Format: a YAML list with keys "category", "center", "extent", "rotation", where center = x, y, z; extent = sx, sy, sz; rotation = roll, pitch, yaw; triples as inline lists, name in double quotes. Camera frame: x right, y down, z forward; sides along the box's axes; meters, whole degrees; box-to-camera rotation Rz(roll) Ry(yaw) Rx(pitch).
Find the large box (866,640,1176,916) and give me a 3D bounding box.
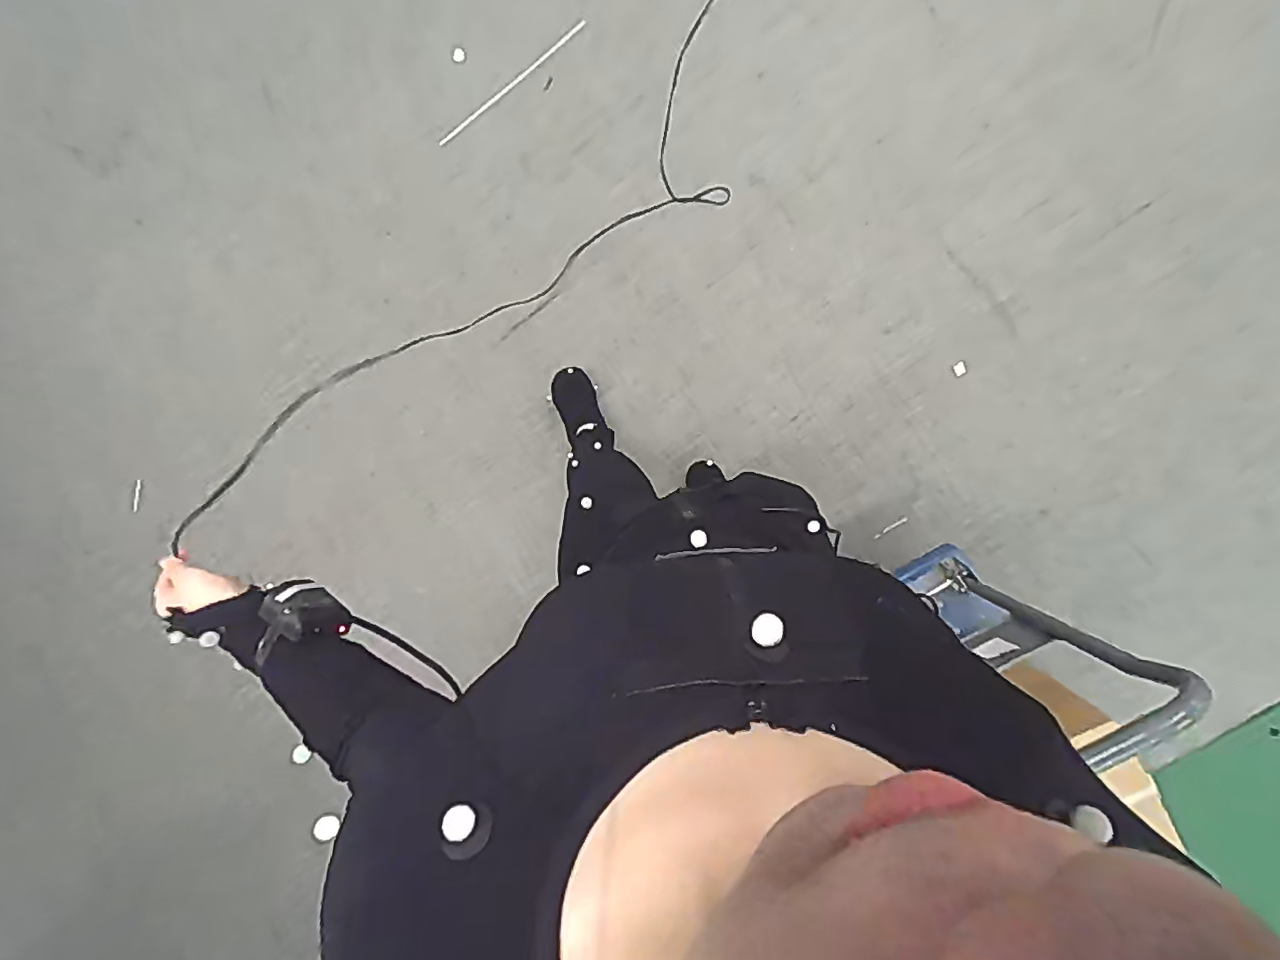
- category: "large box"
  center: [0.798, 0.628, 1.196]
  extent: [0.408, 0.320, 0.320]
  rotation: [-30, 93, 7]
